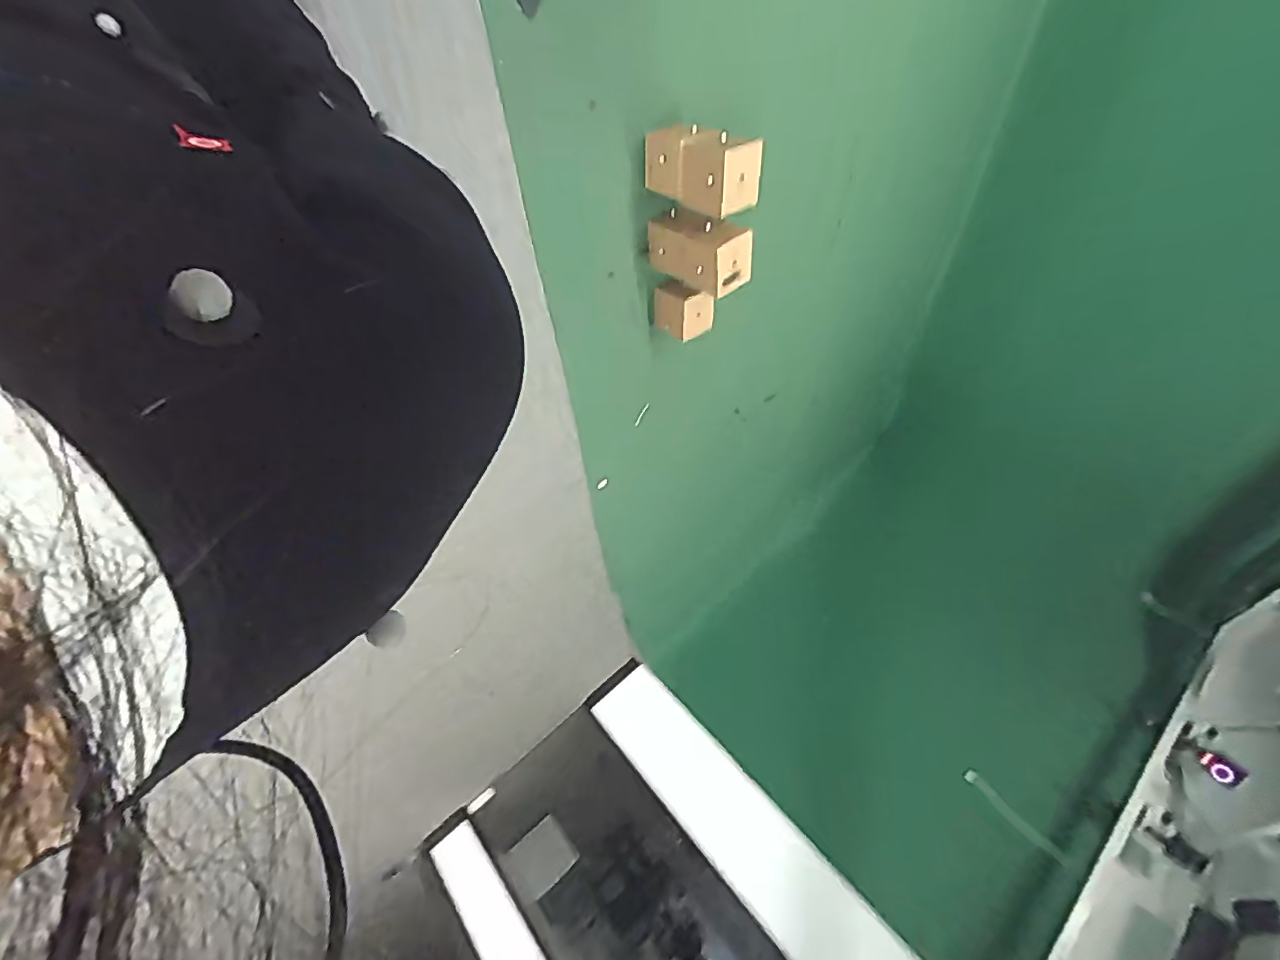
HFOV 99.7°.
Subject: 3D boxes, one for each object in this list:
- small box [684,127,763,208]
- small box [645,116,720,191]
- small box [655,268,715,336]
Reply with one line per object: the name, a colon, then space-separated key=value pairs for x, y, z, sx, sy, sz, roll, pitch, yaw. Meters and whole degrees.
small box: x=0.246 y=-0.952 z=1.638 sx=0.168 sy=0.176 sz=0.179 roll=-32 pitch=142 yaw=-26
small box: x=0.130 y=-1.040 z=1.717 sx=0.179 sy=0.176 sz=0.168 roll=-32 pitch=142 yaw=-27
small box: x=0.170 y=-0.694 z=2.099 sx=0.168 sy=0.176 sz=0.179 roll=-33 pitch=143 yaw=-27
